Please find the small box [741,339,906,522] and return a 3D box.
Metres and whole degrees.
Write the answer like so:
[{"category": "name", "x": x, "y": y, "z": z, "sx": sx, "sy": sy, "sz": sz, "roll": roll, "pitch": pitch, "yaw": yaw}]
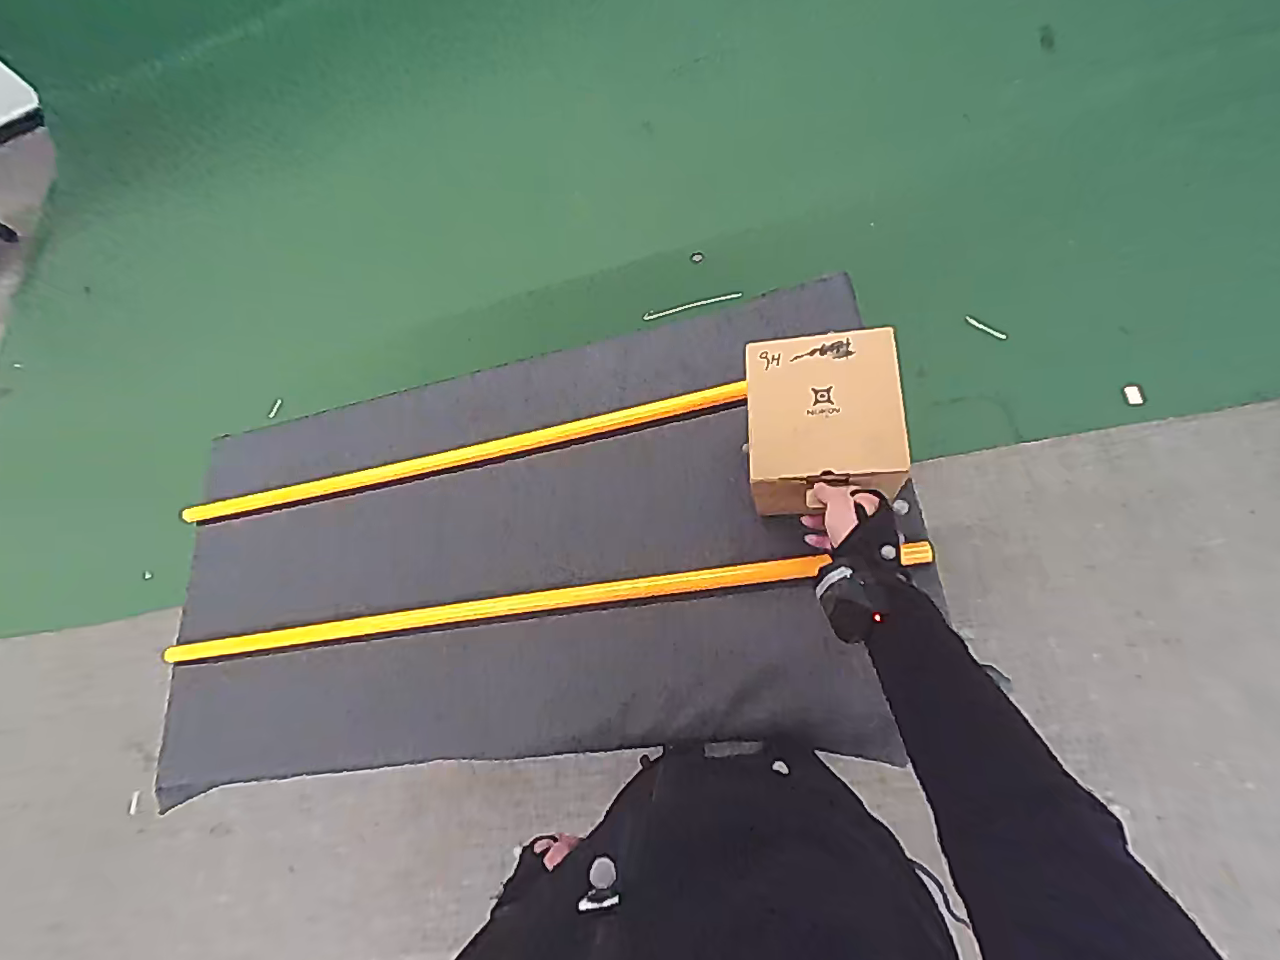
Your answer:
[{"category": "small box", "x": 0.226, "y": -0.048, "z": 0.684, "sx": 0.168, "sy": 0.176, "sz": 0.179, "roll": -7, "pitch": 71, "yaw": 16}]
